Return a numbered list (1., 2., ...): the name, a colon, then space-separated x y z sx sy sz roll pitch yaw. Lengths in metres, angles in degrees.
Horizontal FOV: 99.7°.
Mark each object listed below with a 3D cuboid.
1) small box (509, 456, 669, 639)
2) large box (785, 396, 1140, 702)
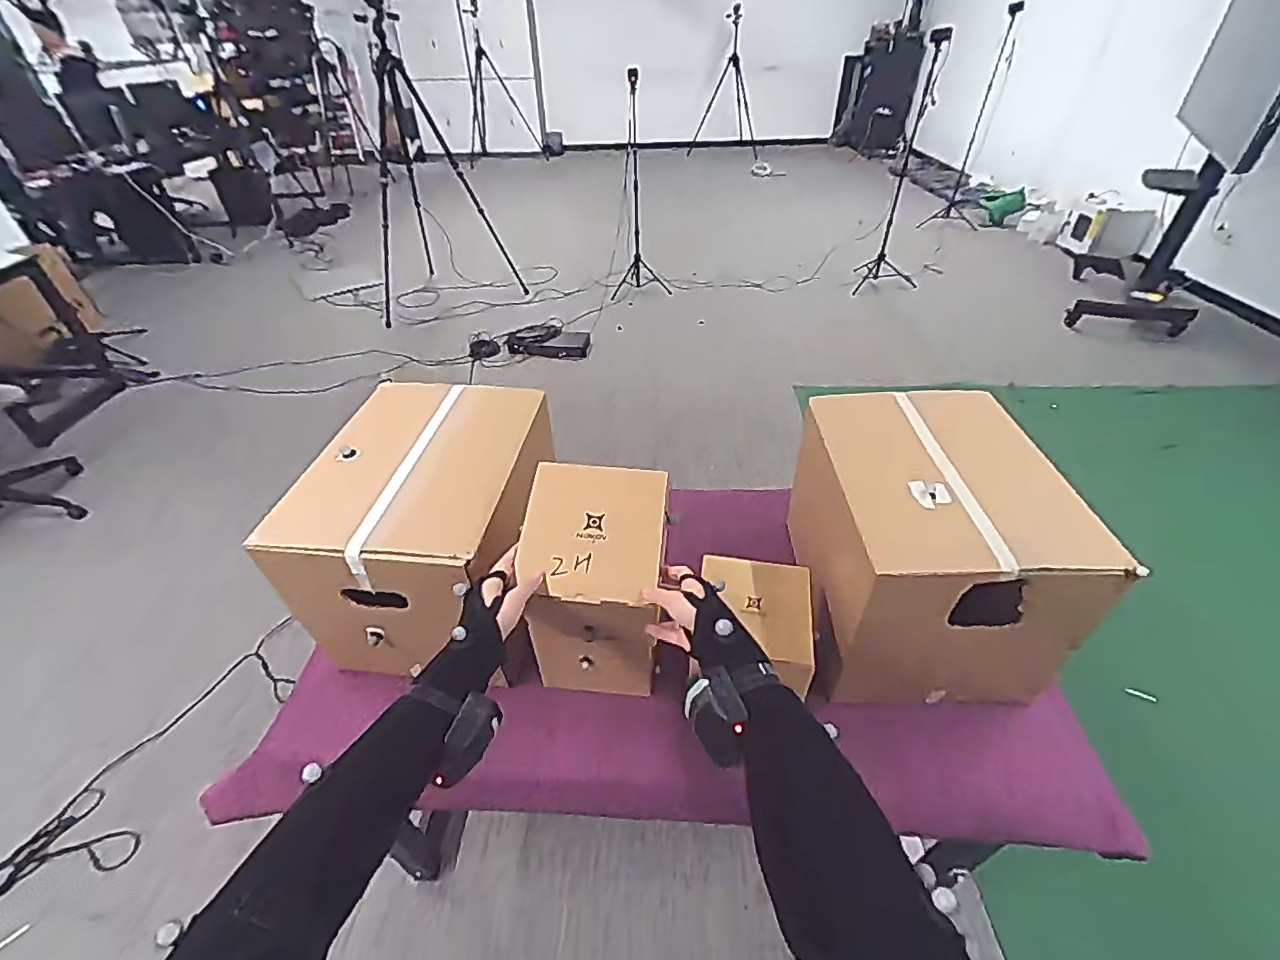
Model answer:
1. small box: -0.054 0.091 0.704 0.168 0.176 0.179 5 60 5
2. large box: 0.446 0.100 0.887 0.320 0.320 0.408 -2 41 3
